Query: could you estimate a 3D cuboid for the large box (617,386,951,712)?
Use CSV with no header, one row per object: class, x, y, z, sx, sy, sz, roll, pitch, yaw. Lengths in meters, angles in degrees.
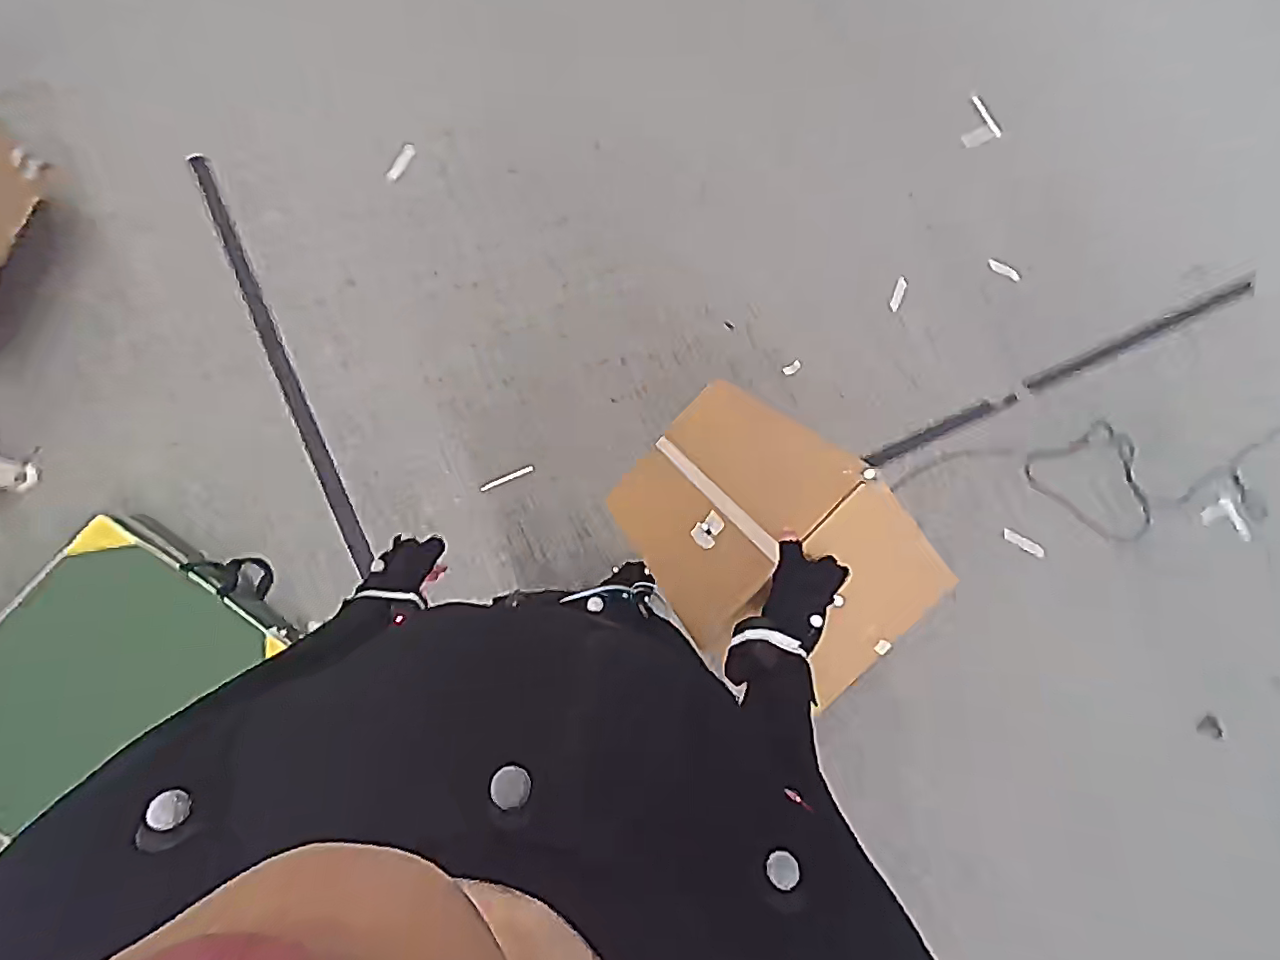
large box,0.221,0.100,0.927,0.320,0.408,0.320,-46,124,7
